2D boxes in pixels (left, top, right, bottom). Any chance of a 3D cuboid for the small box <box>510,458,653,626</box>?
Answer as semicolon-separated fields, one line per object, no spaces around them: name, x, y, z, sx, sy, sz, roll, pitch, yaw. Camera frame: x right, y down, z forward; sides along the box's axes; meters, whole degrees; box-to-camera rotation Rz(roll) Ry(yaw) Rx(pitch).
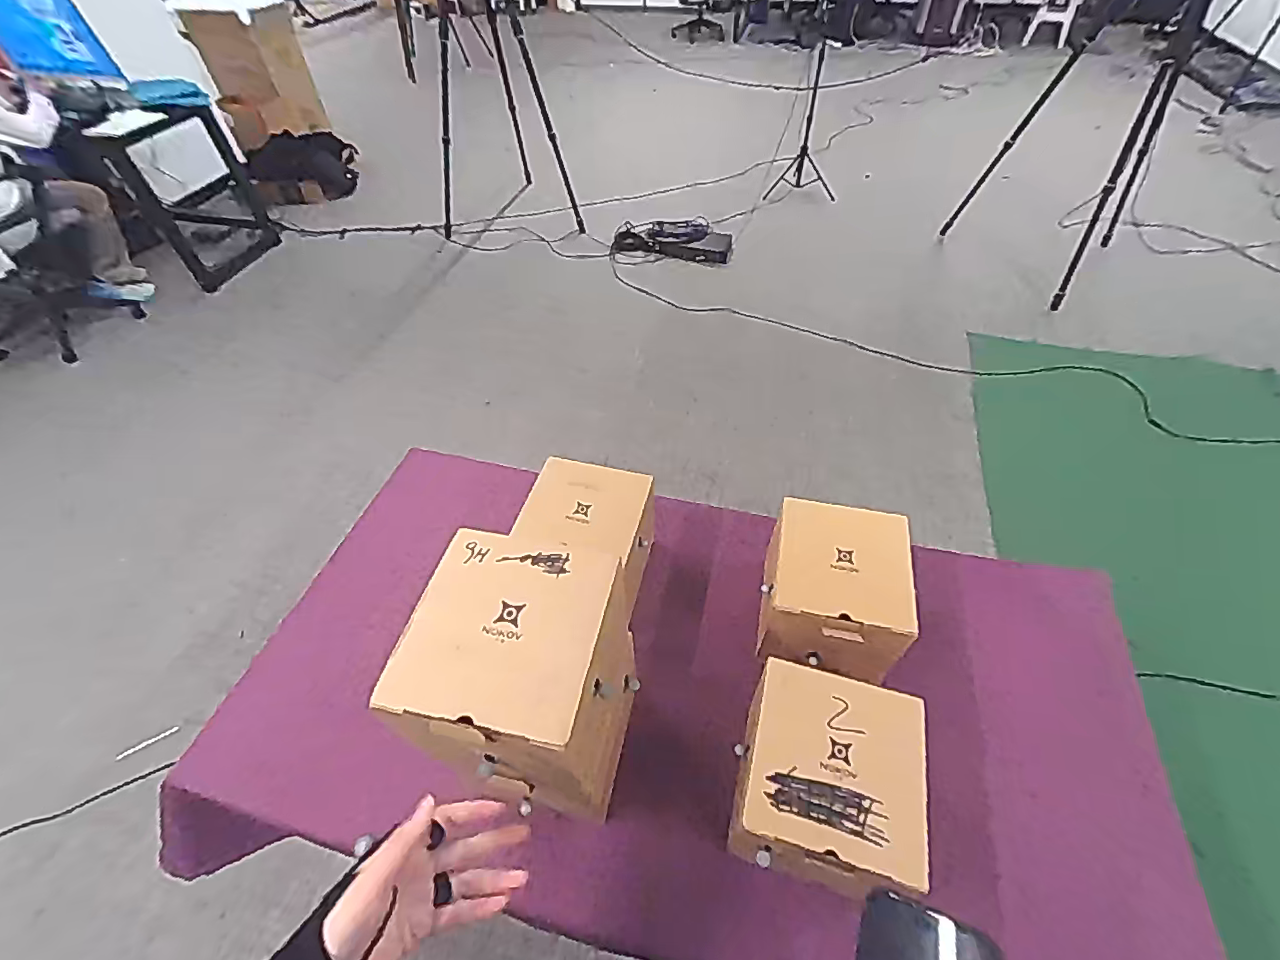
small box;-0.077;0.097;0.808;0.168;0.176;0.179;11;51;10

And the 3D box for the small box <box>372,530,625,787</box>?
small box;-0.112;0.176;0.525;0.168;0.176;0.179;8;51;9

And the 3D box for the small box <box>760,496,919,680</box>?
small box;0.264;0.150;0.748;0.168;0.176;0.179;8;52;10

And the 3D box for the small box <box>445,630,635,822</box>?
small box;-0.104;0.282;0.651;0.168;0.176;0.179;8;50;10
